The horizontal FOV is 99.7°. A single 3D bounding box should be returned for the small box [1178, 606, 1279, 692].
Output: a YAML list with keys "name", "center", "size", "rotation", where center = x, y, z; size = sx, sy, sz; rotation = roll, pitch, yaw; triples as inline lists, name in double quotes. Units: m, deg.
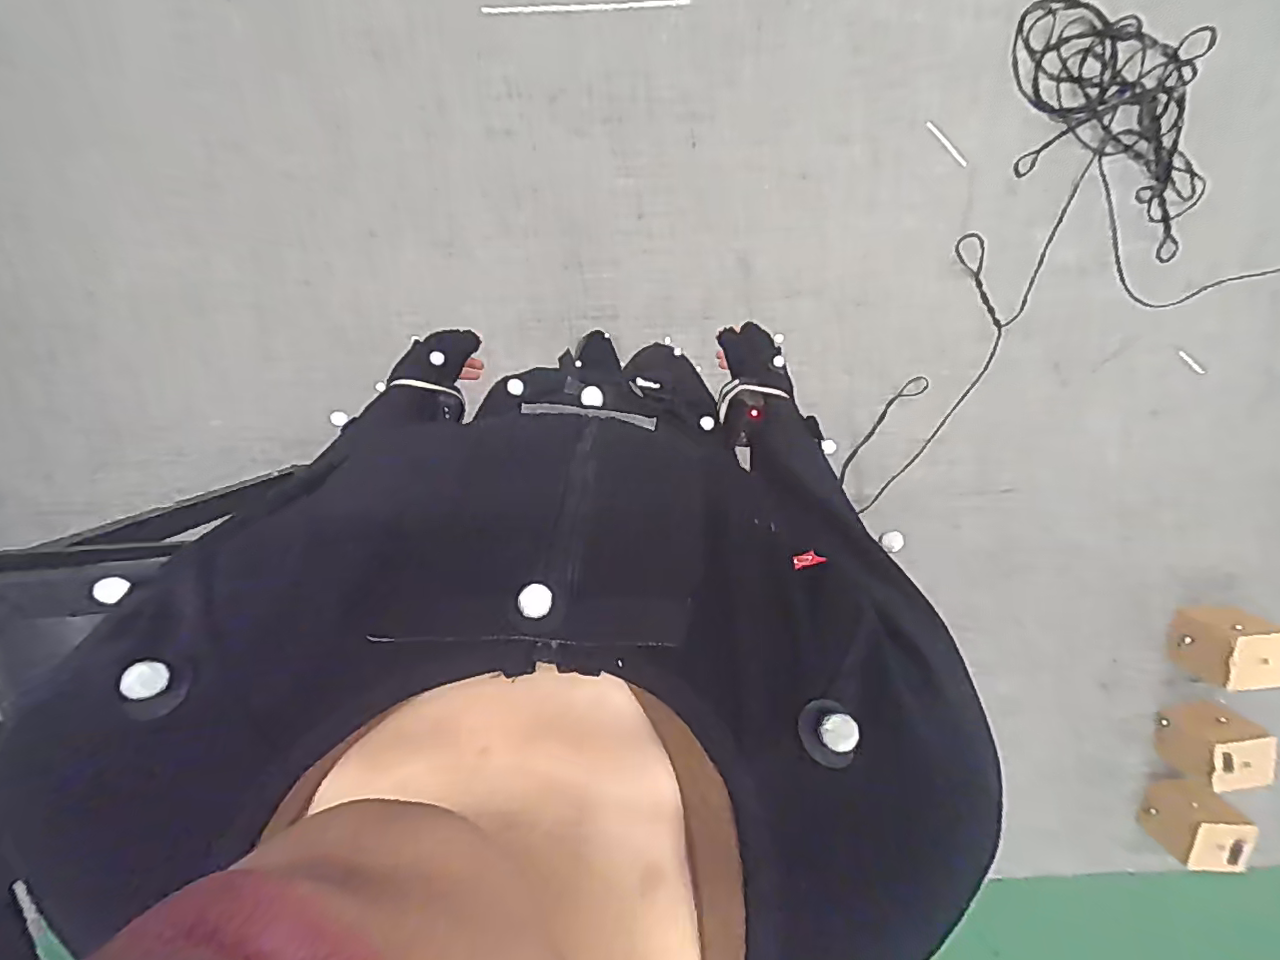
- name: "small box"
  center: [1.675, 0.463, 1.505]
  size: [0.179, 0.176, 0.168]
  rotation: [-6, 102, 2]

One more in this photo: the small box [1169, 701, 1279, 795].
- name: "small box"
  center: [1.701, 0.773, 1.573]
  size: [0.179, 0.176, 0.168]
  rotation: [-10, 103, 1]
